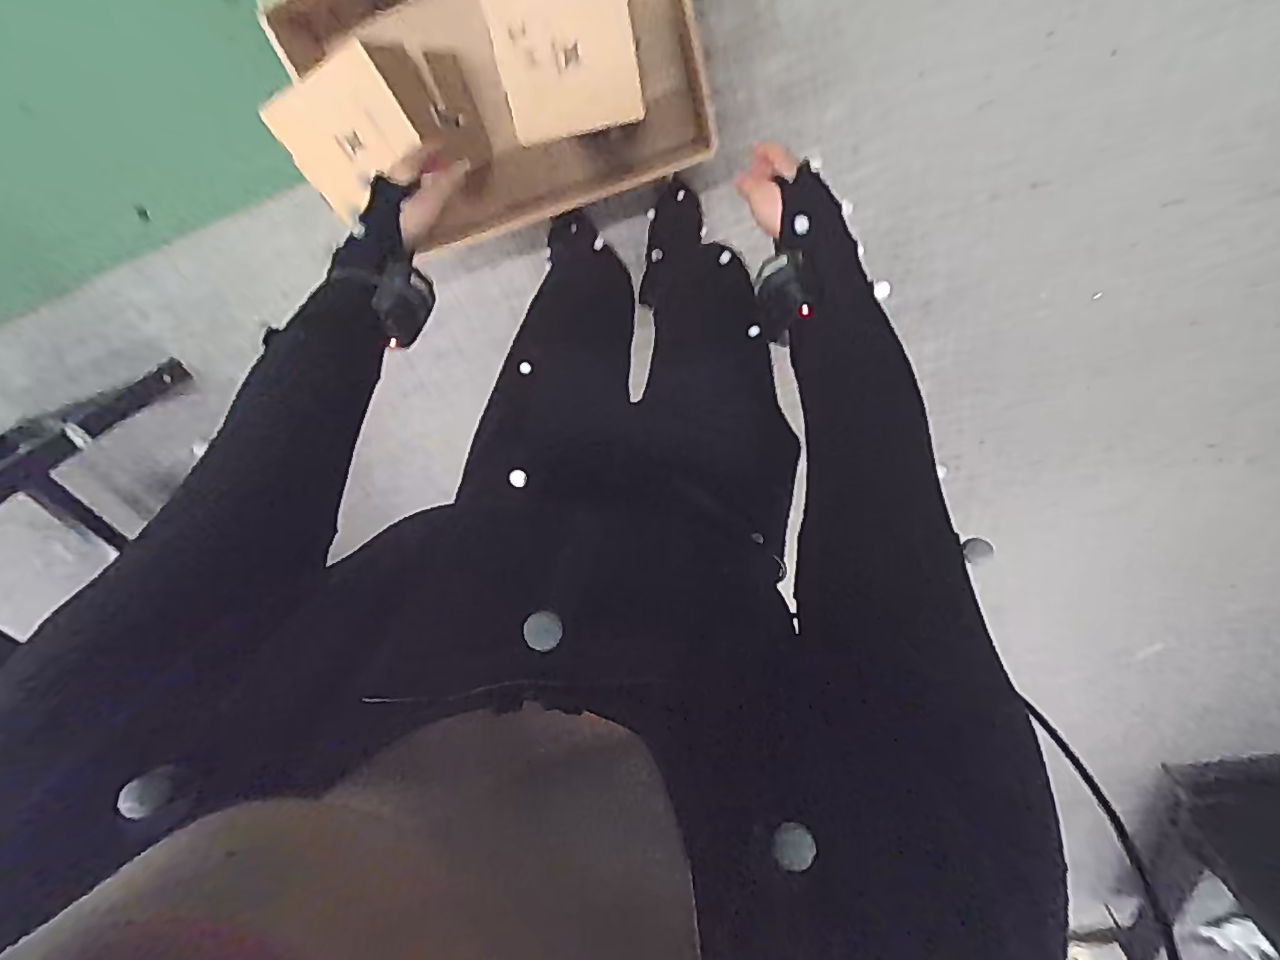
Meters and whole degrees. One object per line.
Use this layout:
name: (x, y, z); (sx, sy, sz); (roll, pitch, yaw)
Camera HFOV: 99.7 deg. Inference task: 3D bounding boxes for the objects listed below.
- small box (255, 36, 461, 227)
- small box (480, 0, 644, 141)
small box: (-0.391, -0.503, 0.787); (0.179, 0.176, 0.168); (-22, 126, 14)
small box: (-0.093, -0.578, 0.730); (0.179, 0.176, 0.168); (-8, 128, 7)
